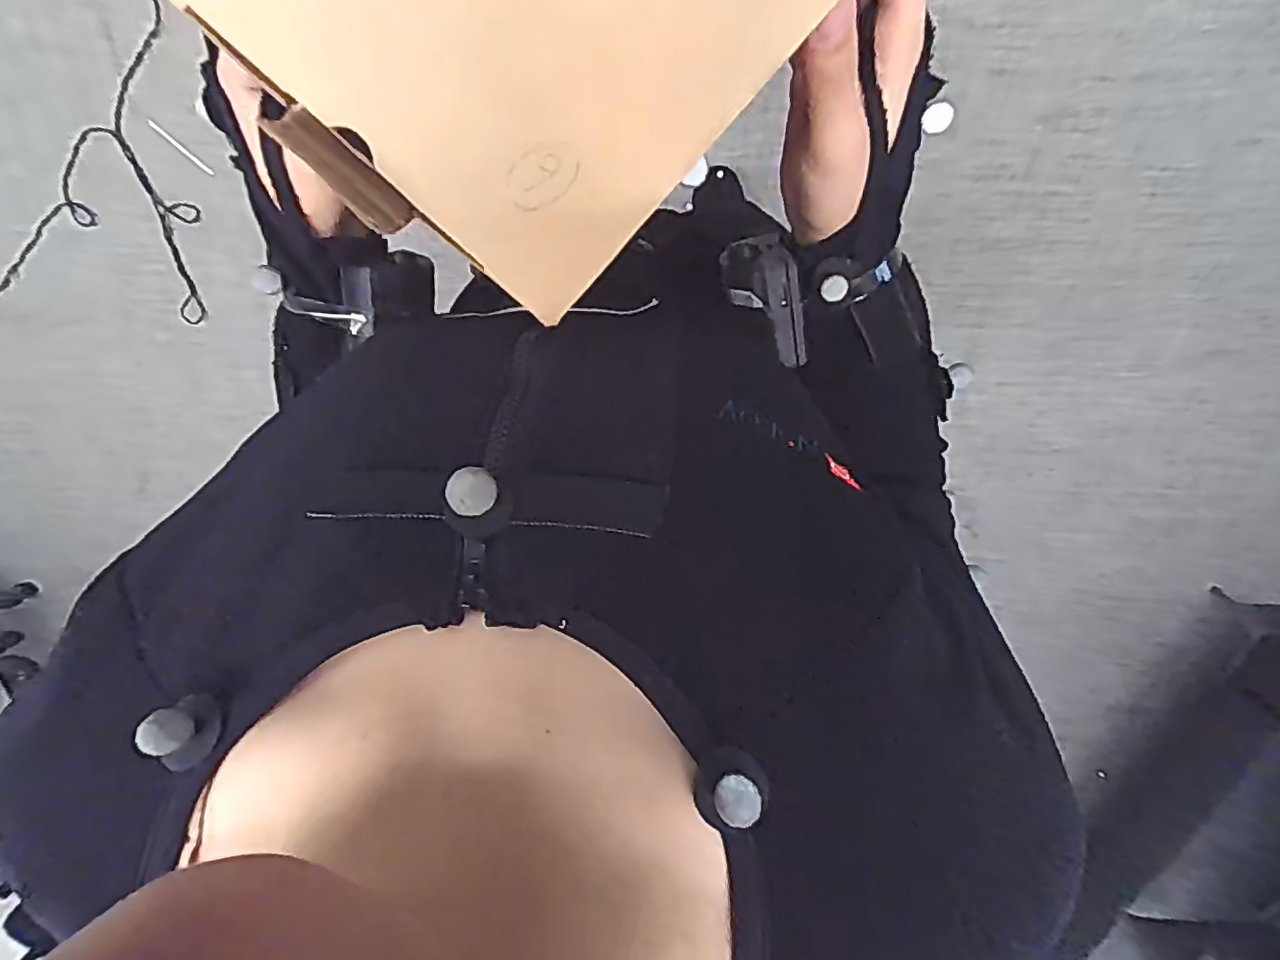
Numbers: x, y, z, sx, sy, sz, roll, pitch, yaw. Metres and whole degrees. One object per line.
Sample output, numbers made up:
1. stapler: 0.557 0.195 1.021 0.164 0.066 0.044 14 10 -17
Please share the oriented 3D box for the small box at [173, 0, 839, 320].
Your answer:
1. small box: -0.032 -0.202 0.210 0.168 0.176 0.179 39 119 -22
